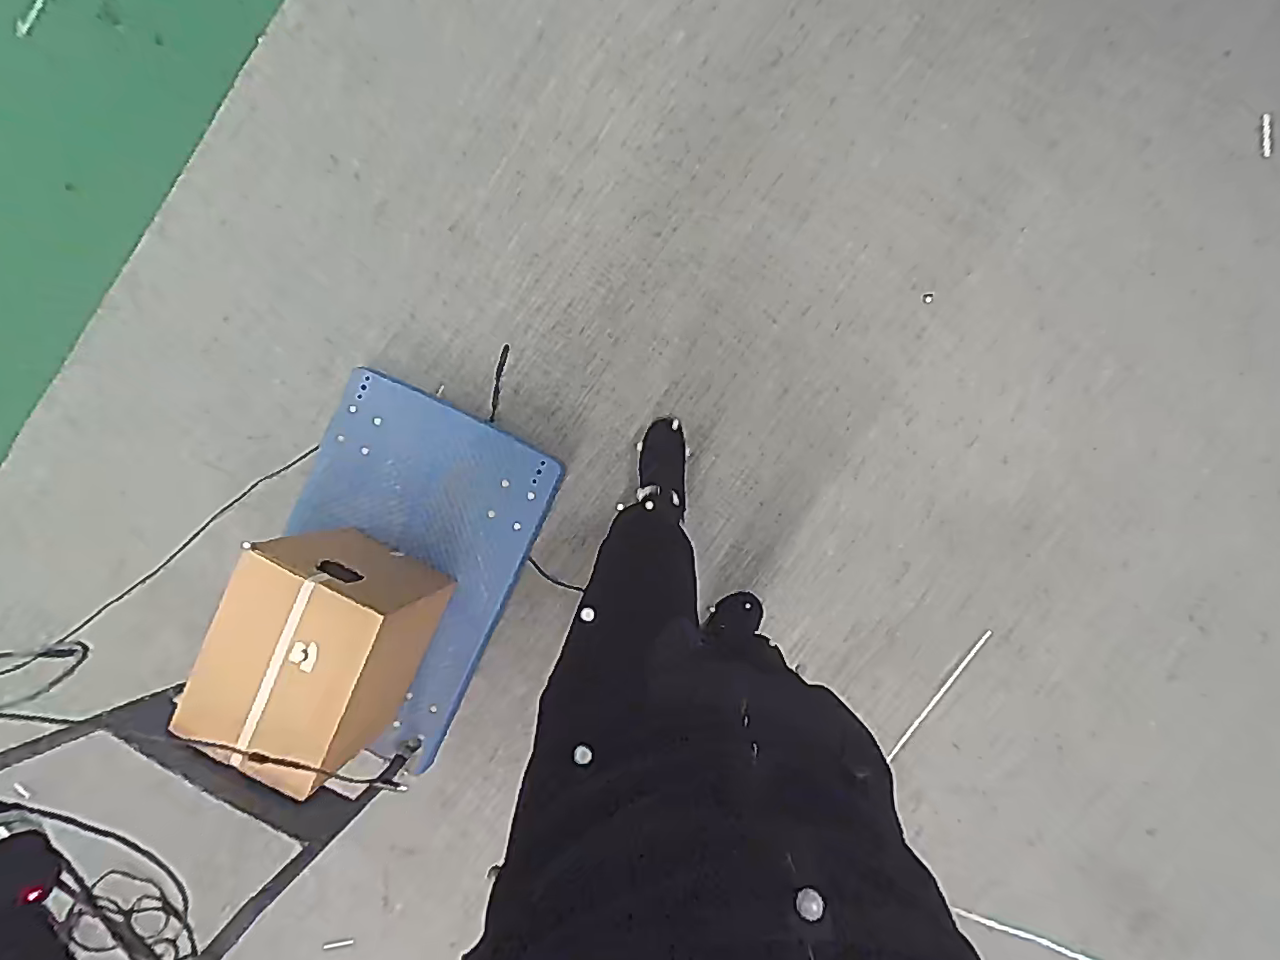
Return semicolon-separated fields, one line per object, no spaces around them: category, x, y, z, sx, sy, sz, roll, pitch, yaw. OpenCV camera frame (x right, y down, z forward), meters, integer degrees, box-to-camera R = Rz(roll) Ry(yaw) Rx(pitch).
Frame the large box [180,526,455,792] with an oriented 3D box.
large box;-0.671;0.355;1.178;0.320;0.320;0.408;25;93;4
